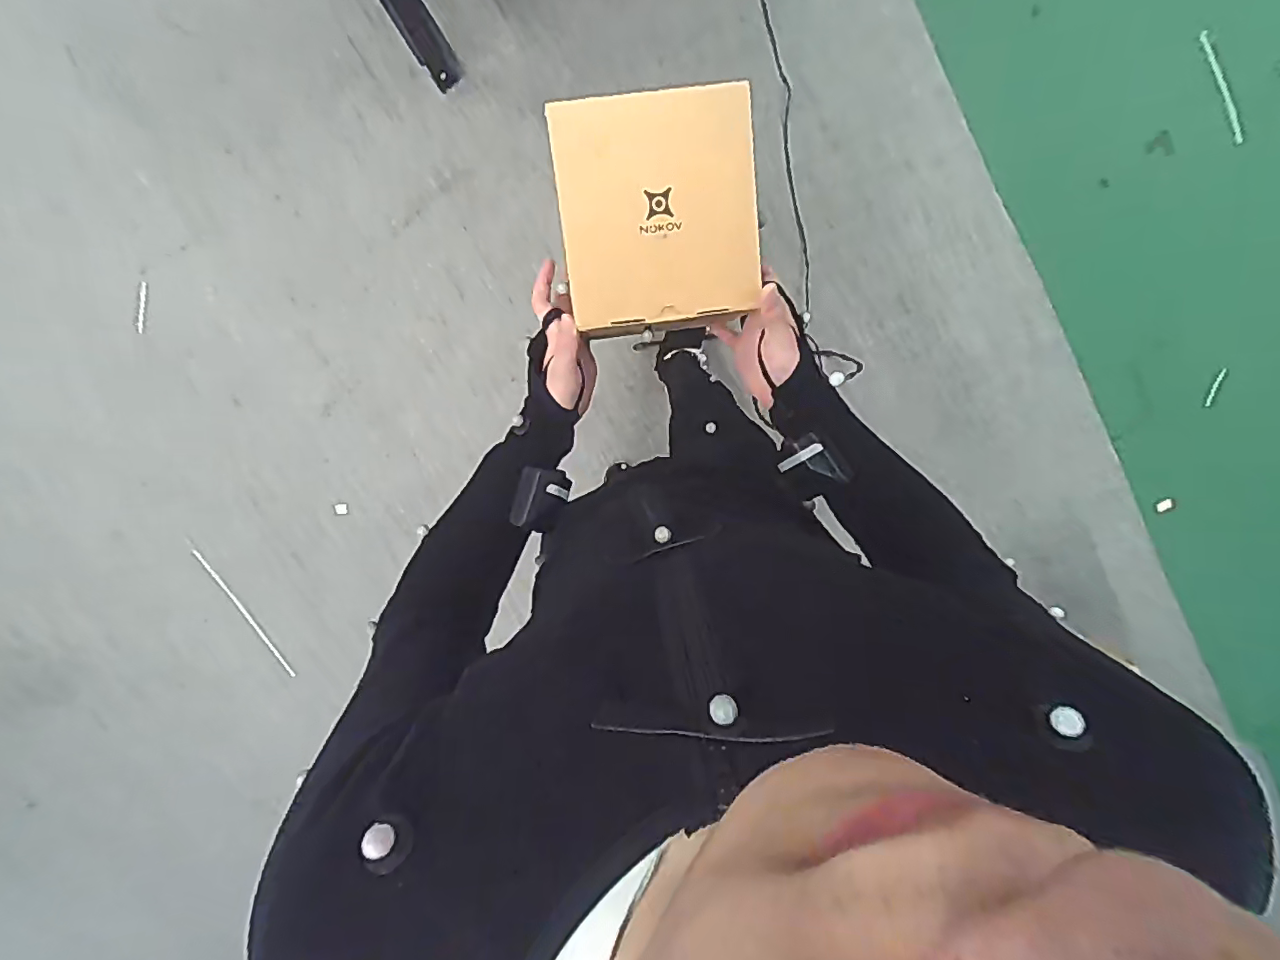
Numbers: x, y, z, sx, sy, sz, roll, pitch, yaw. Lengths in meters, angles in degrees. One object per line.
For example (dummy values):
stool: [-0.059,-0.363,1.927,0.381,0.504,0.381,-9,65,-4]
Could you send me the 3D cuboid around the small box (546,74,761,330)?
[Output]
small box: [0.010,-0.246,0.522,0.168,0.176,0.179,-7,104,-1]
